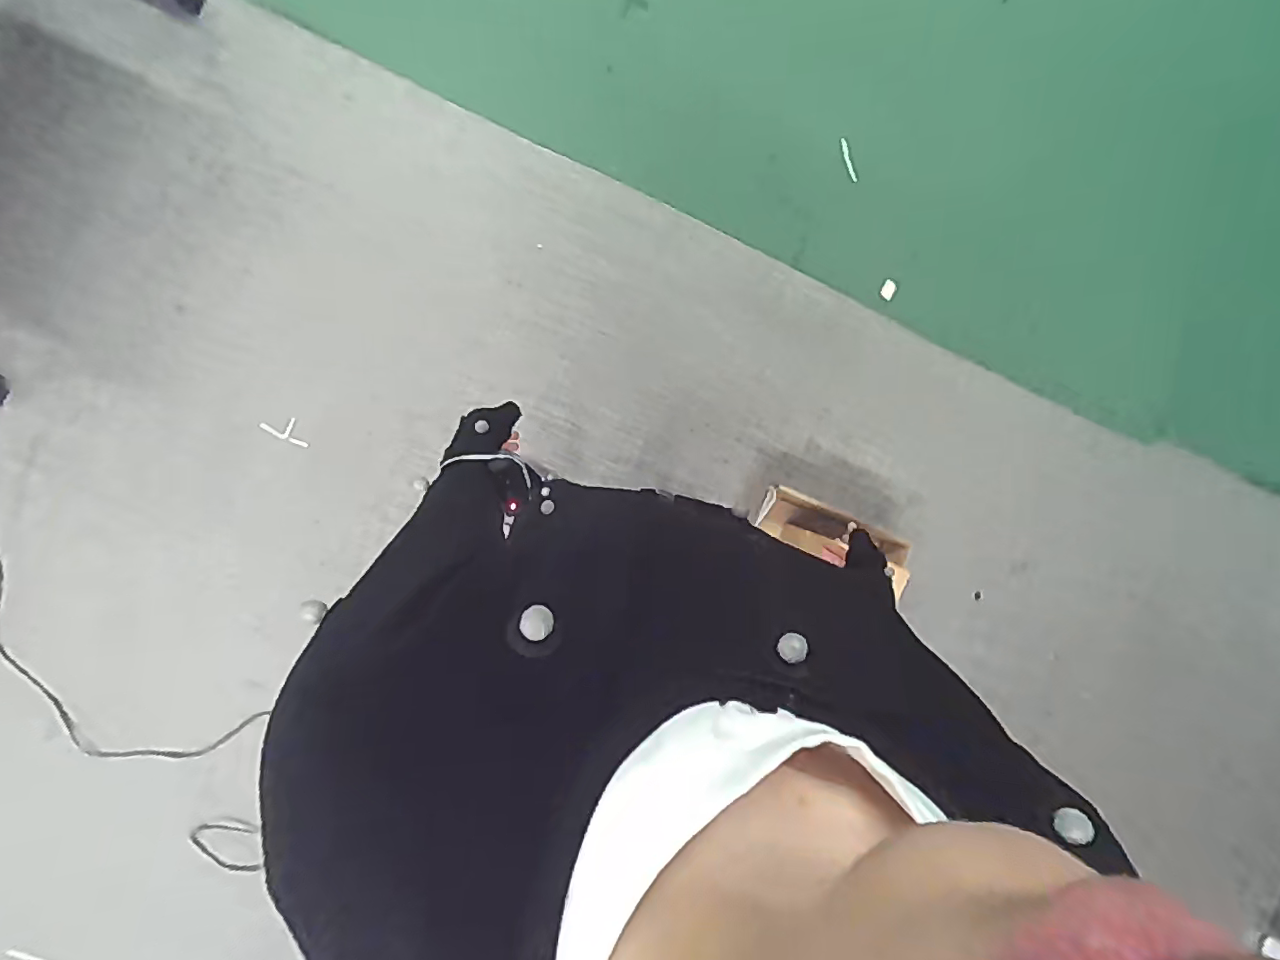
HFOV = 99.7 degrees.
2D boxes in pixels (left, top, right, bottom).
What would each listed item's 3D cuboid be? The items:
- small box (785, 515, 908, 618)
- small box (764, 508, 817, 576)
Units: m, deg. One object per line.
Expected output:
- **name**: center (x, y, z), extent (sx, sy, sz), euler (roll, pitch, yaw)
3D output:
- **small box**: center (0.456, 0.186, 1.218), extent (0.179, 0.176, 0.168), euler (19, 92, -5)
- **small box**: center (0.443, 0.177, 1.380), extent (0.179, 0.176, 0.168), euler (21, 91, -5)
